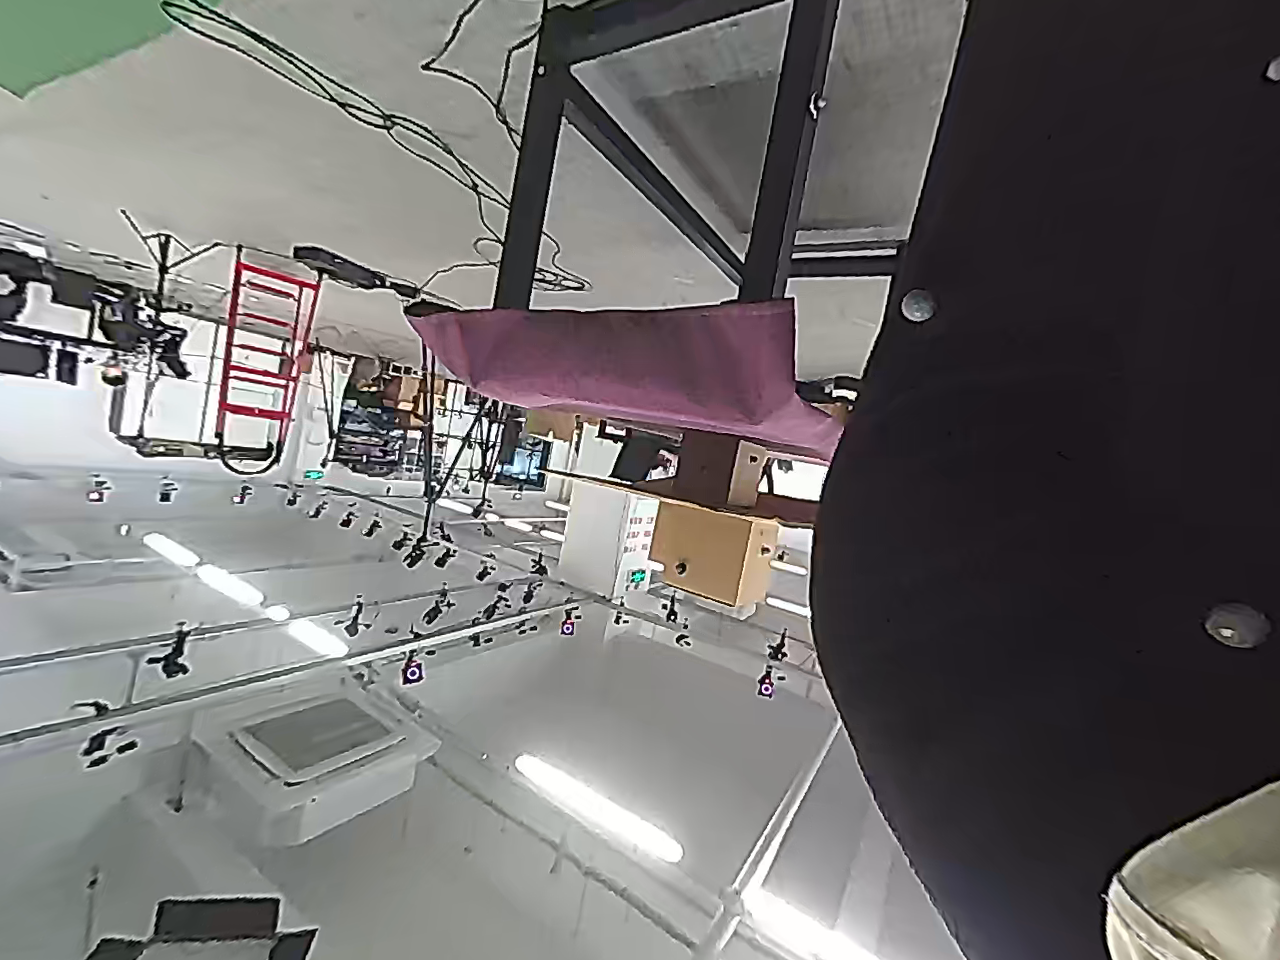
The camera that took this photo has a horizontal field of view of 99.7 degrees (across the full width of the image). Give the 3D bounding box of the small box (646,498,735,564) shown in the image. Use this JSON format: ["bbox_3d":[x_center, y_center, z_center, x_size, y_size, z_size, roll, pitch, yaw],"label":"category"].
[{"bbox_3d":[0.141,0.143,1.391,0.179,0.176,0.168,13,-179,33],"label":"small box"}]

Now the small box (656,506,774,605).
[{"bbox_3d":[0.161,0.149,1.126,0.179,0.176,0.168,11,-179,32],"label":"small box"}]
